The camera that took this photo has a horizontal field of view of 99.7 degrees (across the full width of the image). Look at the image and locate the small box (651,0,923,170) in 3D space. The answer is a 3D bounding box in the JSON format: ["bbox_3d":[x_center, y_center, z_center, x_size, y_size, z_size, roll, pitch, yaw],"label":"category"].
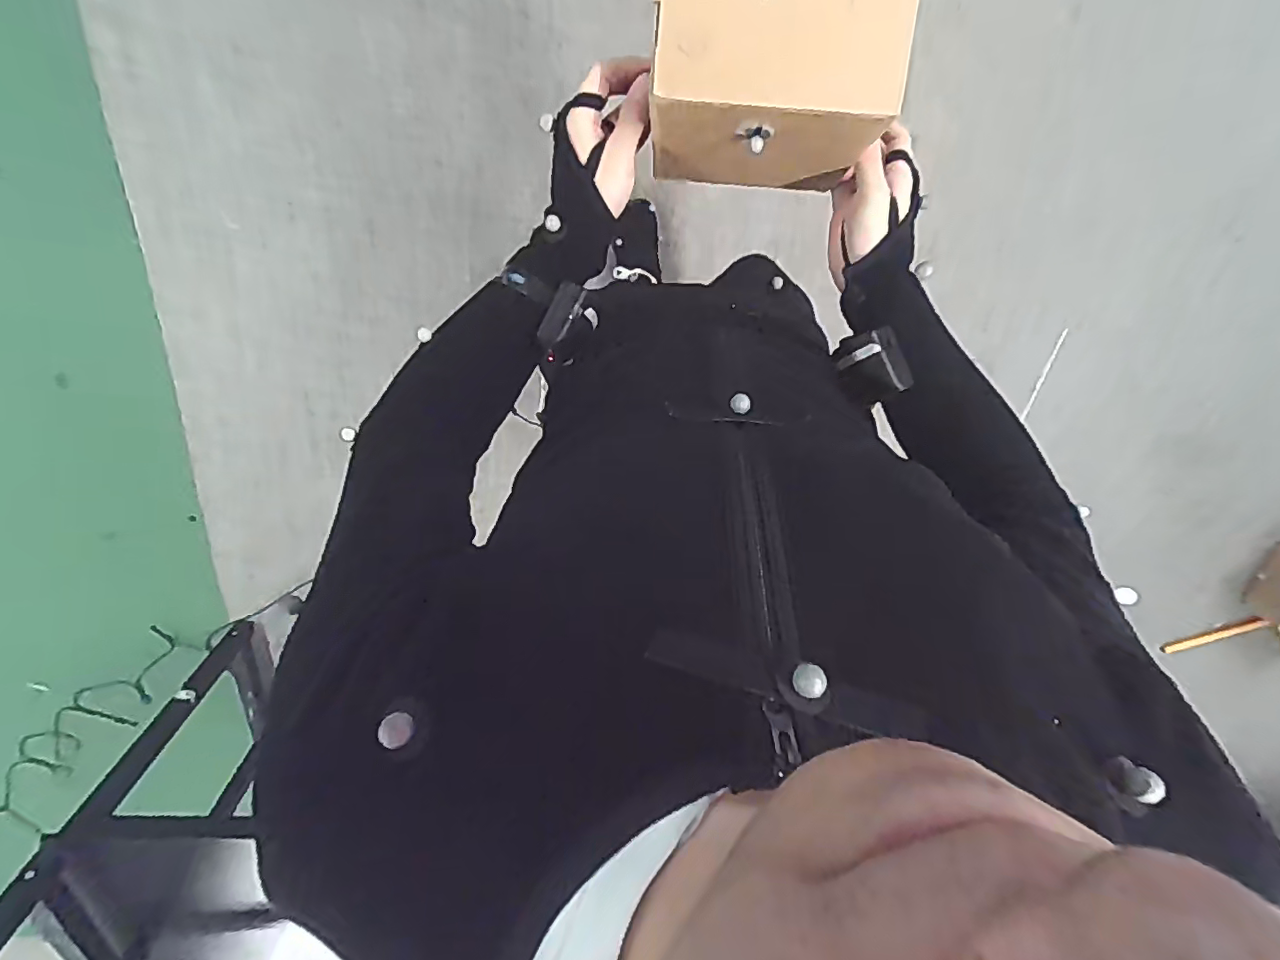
[{"bbox_3d":[0.105,-0.365,0.426,0.179,0.176,0.168,5,103,2],"label":"small box"}]
